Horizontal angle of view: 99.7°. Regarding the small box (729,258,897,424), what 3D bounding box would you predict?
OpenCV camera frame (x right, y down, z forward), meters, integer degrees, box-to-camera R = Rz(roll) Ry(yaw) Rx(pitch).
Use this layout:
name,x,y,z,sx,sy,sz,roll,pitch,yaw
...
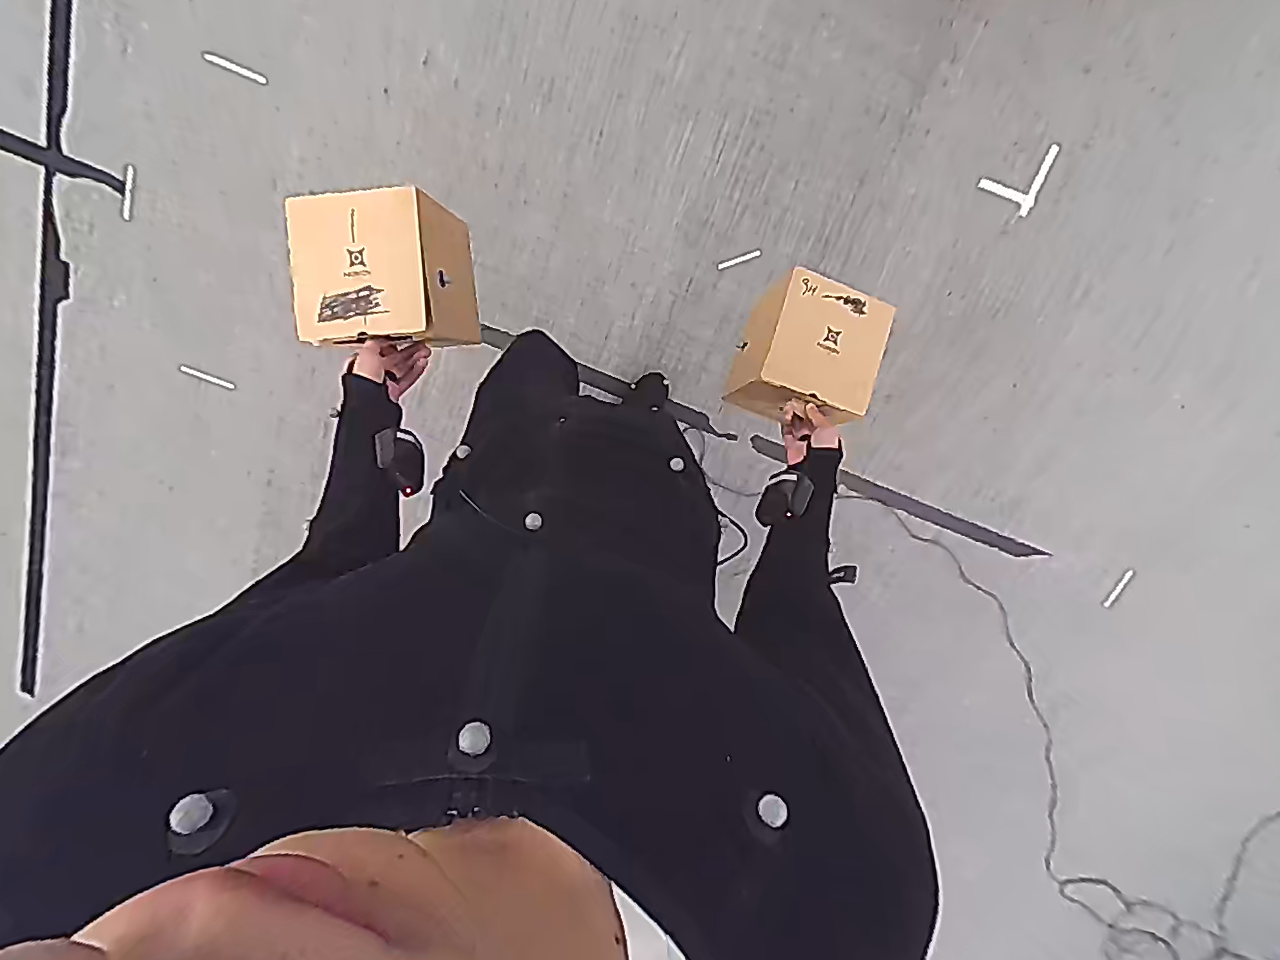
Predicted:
name,x,y,z,sx,sy,sz,roll,pitch,yaw
small box,0.252,-0.198,0.830,0.168,0.176,0.179,20,85,-9

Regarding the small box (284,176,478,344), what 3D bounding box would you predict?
name,x,y,z,sx,sy,sz,roll,pitch,yaw
small box,-0.332,-0.280,0.730,0.168,0.176,0.179,-4,99,5
